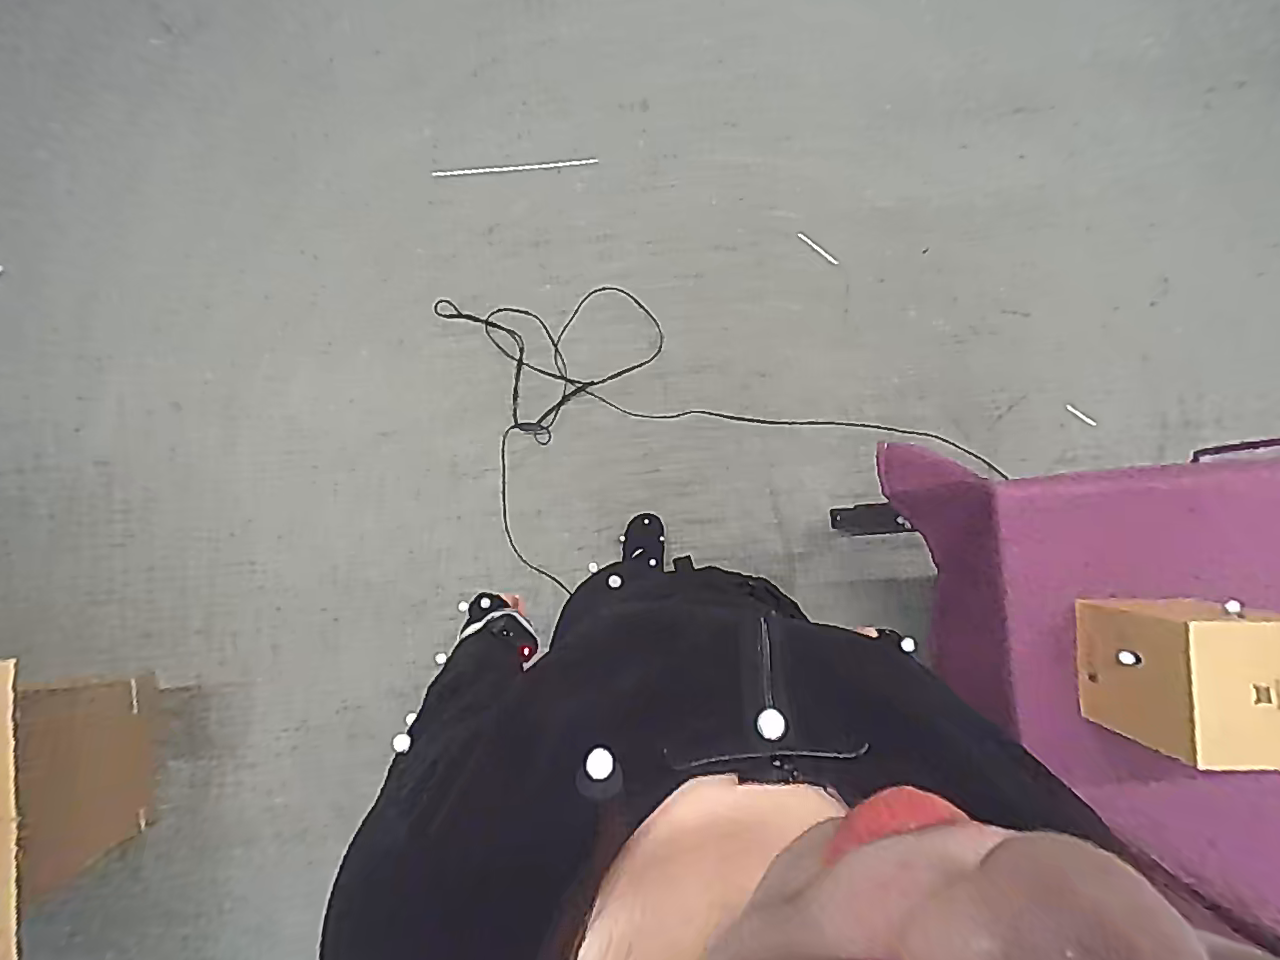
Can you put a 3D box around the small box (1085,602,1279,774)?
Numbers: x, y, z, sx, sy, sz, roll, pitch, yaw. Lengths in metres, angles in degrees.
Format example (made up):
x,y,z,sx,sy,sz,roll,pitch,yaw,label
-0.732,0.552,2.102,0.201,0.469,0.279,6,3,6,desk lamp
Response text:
x,y,z,sx,sy,sz,roll,pitch,yaw,label
0.707,0.250,0.683,0.179,0.176,0.168,1,86,-1,small box
